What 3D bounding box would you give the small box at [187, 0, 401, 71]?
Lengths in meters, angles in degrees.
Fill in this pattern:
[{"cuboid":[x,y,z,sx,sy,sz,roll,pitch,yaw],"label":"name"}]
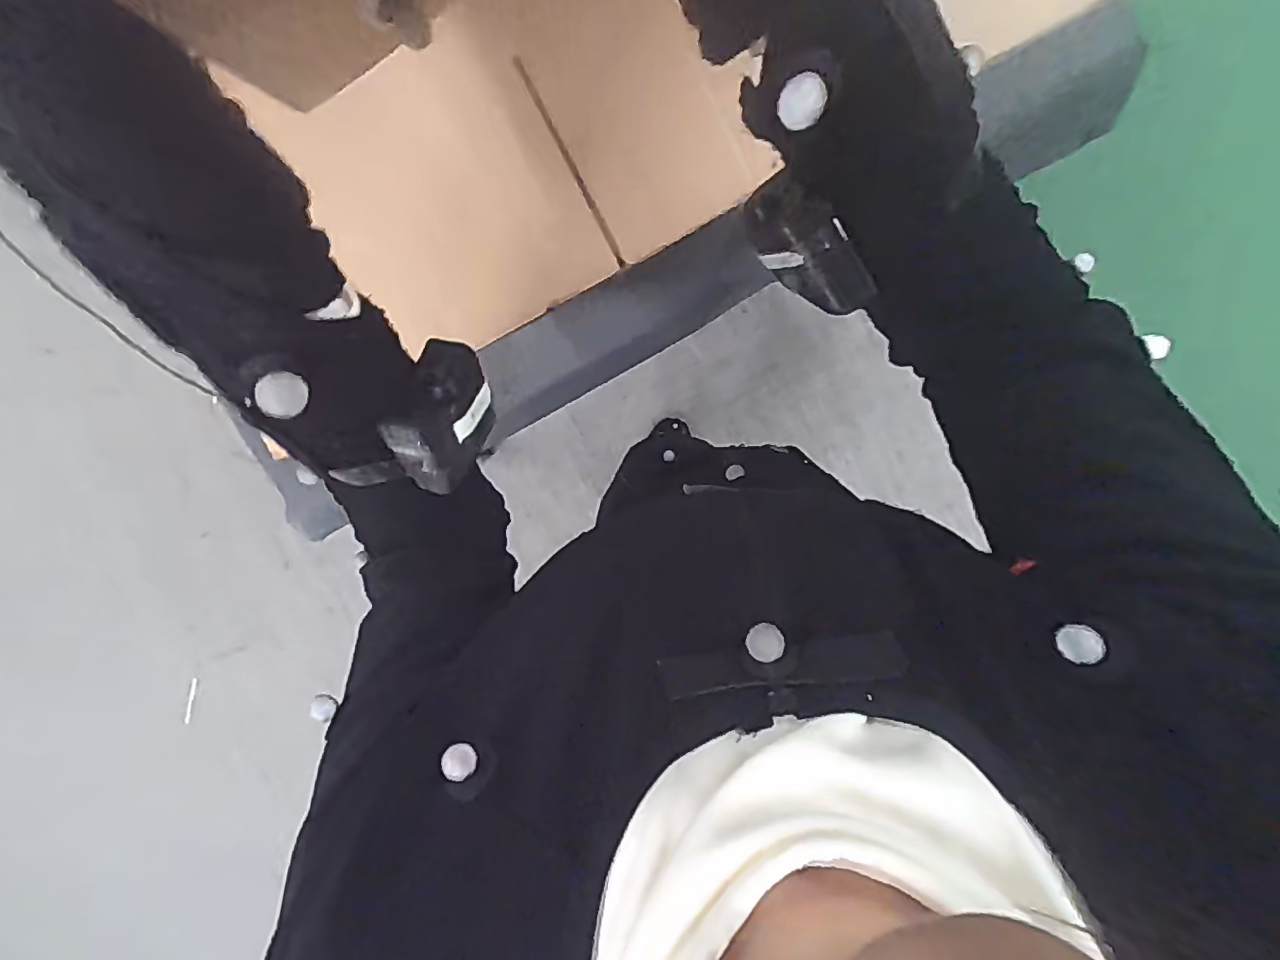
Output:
[{"cuboid":[-0.140,-0.269,0.146,0.168,0.176,0.179,-34,110,6],"label":"small box"}]
